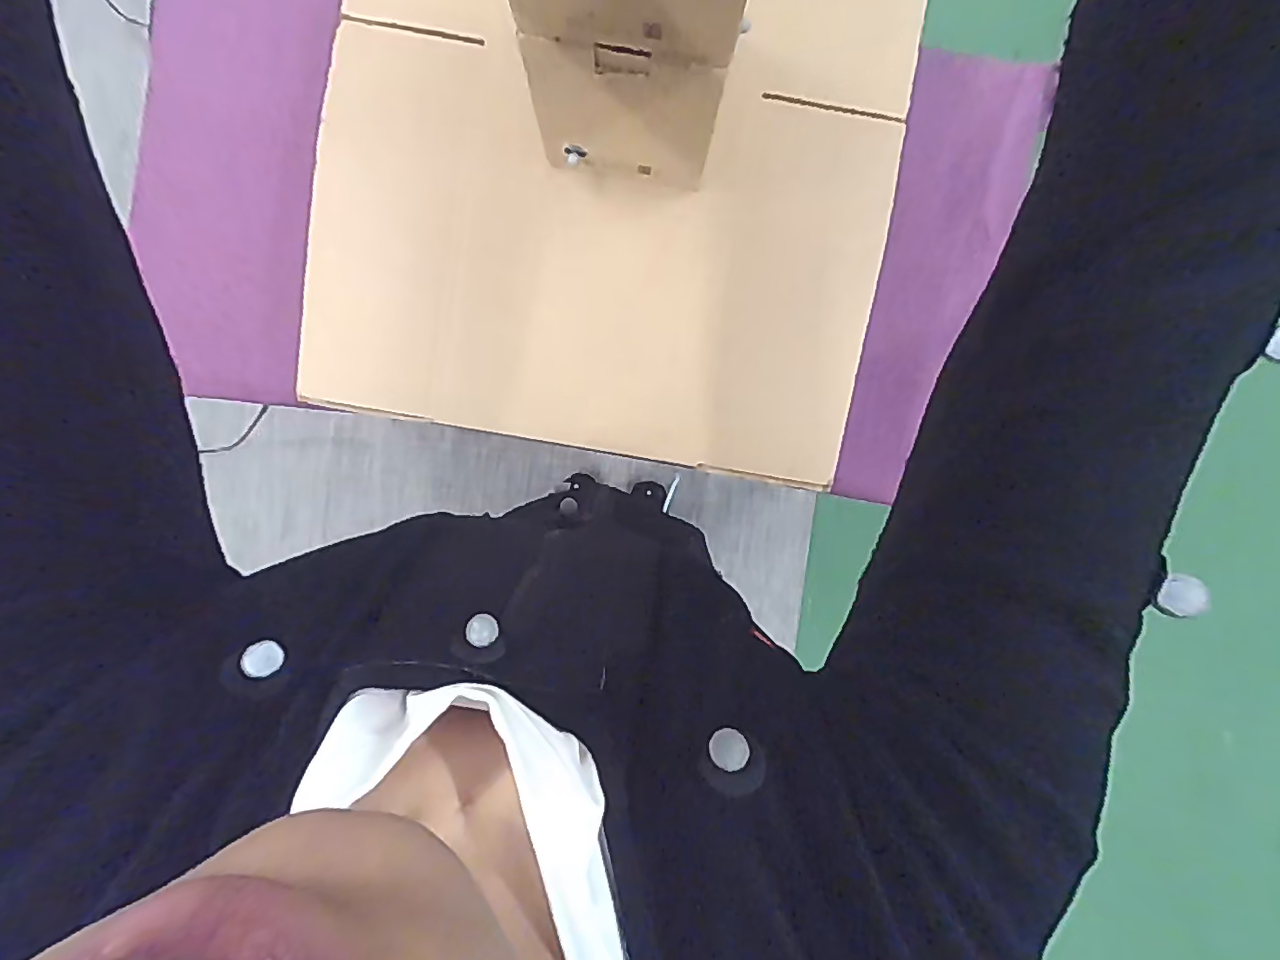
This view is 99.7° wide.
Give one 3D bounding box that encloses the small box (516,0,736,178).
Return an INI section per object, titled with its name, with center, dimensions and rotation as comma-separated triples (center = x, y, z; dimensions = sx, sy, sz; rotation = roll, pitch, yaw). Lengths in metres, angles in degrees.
[small box]
center = -0.001, -0.411, 0.491
dimensions = 0.168, 0.176, 0.179
rotation = 10, 89, -2
